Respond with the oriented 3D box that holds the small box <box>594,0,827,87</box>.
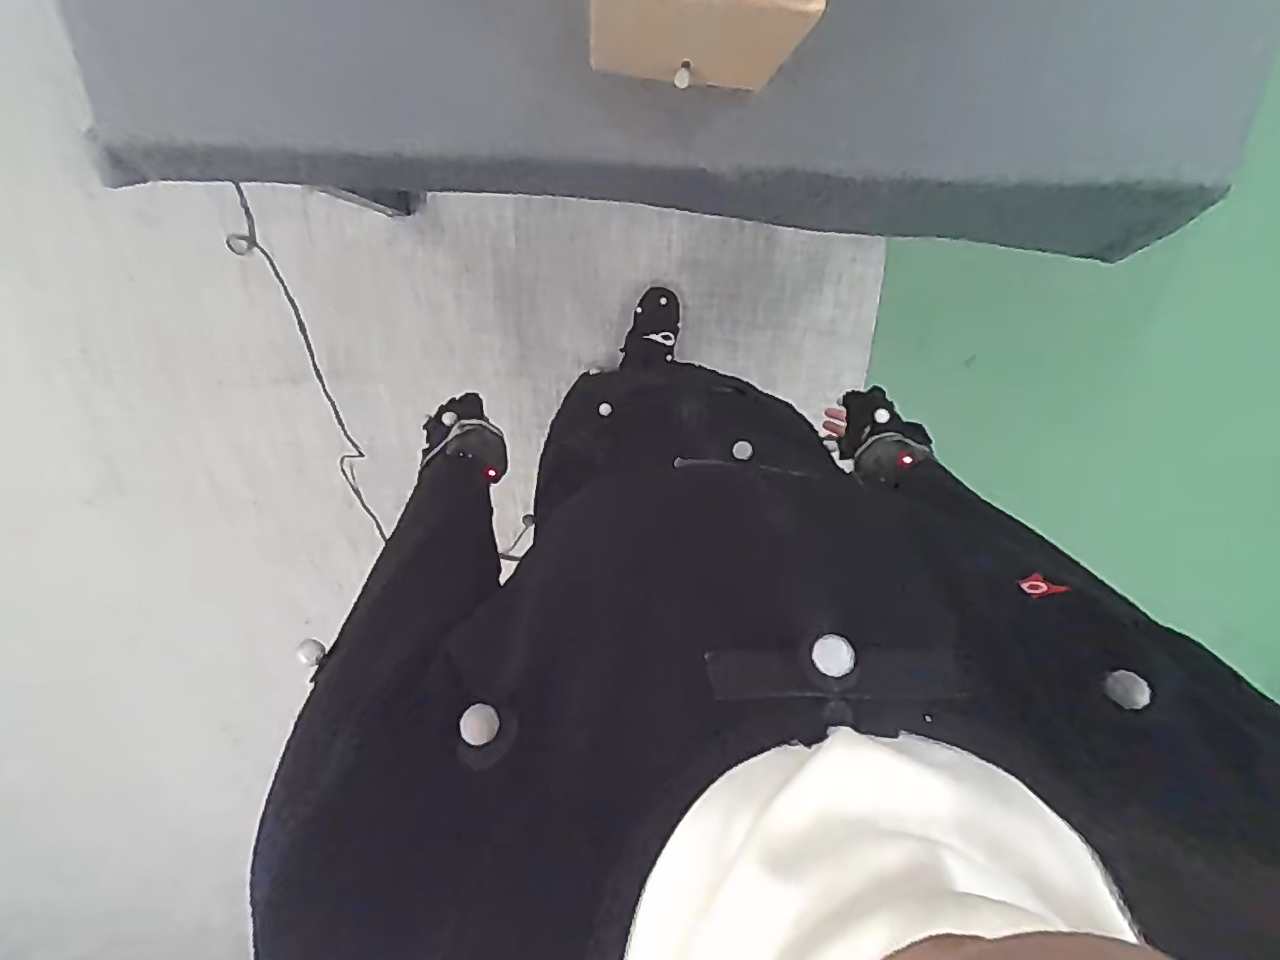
[{"bbox_3d":[0.053,-0.458,0.453,0.179,0.176,0.168,2,108,-6],"label":"small box"}]
